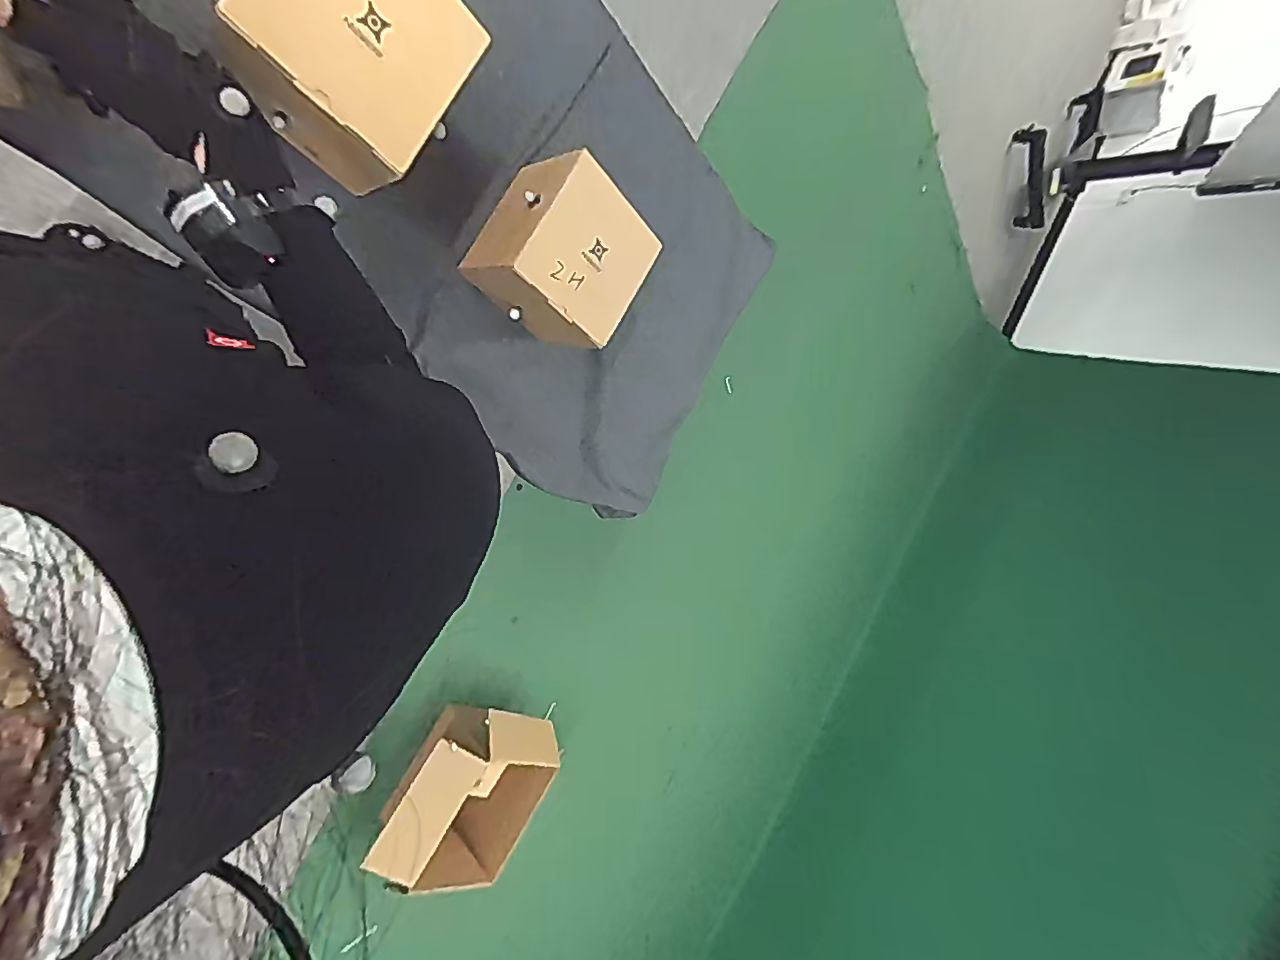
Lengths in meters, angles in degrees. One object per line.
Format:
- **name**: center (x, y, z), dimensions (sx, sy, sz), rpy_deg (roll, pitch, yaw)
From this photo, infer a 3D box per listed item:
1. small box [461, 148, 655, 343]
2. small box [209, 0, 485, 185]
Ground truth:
- **small box**: center (-0.118, -0.316, 0.752), dimensions (0.168, 0.176, 0.179), rpy_deg (35, 82, -44)
- **small box**: center (-0.297, -0.433, 0.544), dimensions (0.168, 0.176, 0.179), rpy_deg (34, 83, -45)
